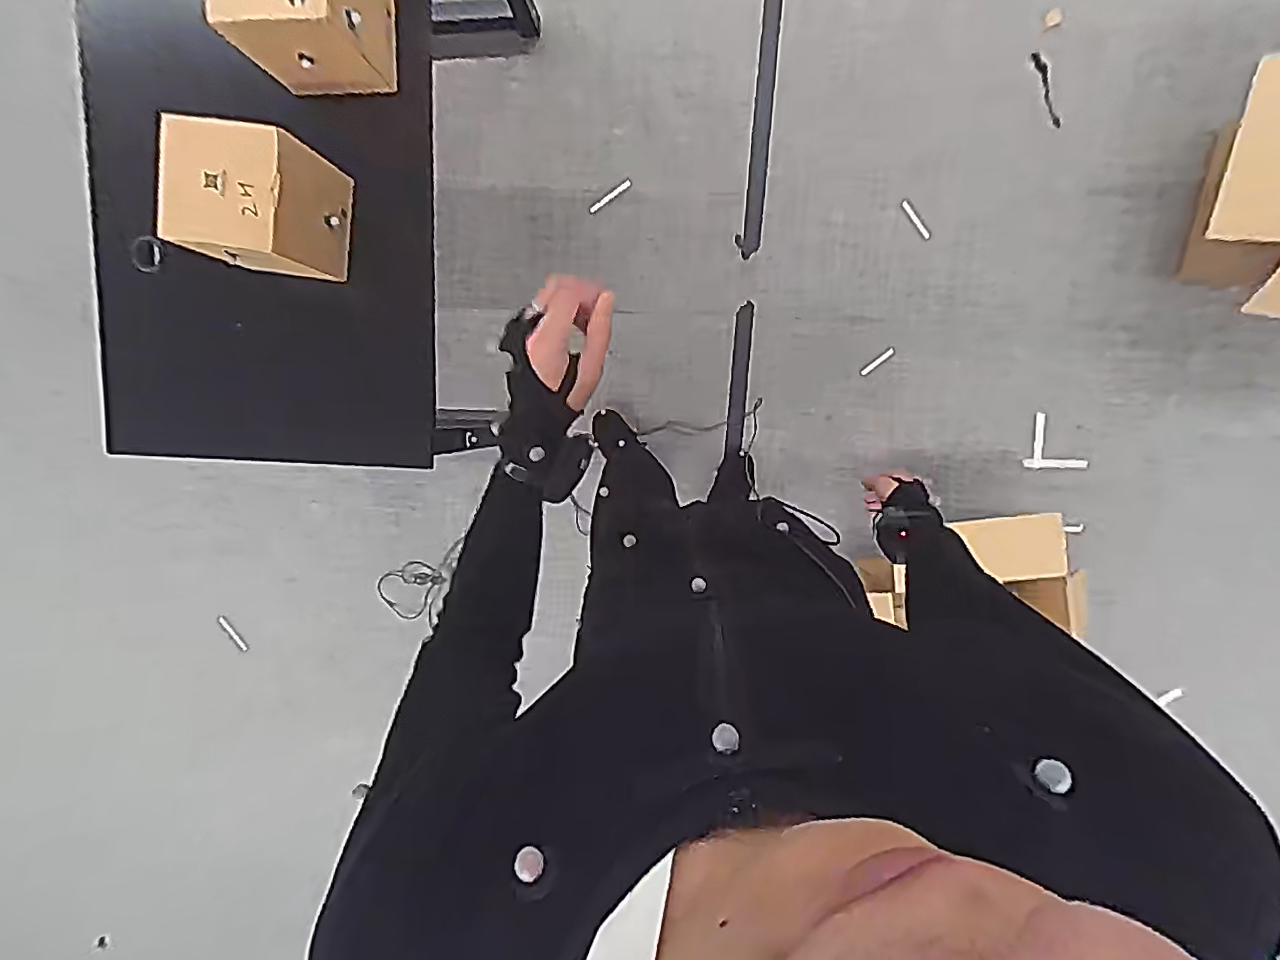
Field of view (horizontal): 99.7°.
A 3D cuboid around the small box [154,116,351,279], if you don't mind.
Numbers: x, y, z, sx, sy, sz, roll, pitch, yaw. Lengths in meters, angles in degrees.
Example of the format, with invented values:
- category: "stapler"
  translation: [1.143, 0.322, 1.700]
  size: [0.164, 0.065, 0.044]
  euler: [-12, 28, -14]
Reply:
- category: "small box"
  translation: [-0.576, -0.415, 0.819]
  size: [0.179, 0.176, 0.168]
  euler: [8, 98, 4]
